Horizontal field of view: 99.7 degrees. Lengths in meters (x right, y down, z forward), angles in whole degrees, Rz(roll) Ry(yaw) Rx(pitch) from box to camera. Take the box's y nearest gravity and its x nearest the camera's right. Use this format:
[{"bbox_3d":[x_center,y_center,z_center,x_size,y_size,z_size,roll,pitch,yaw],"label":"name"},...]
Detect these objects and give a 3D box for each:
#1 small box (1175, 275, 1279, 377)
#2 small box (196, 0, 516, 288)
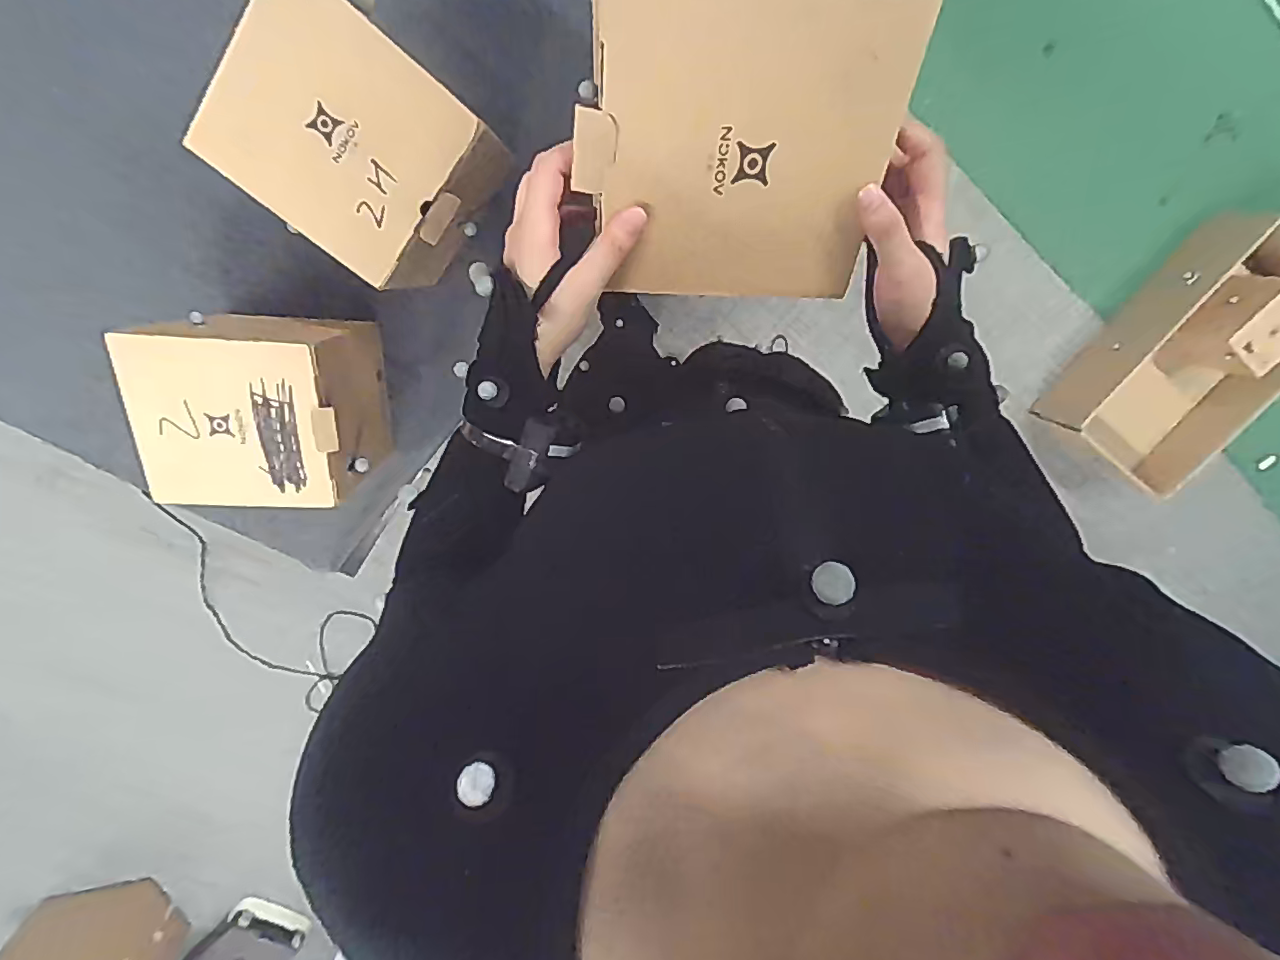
[{"bbox_3d":[1.517,-0.390,1.346,0.168,0.176,0.179,32,107,-17],"label":"small box"},{"bbox_3d":[-0.241,-0.301,0.507,0.179,0.176,0.168,37,105,-15],"label":"small box"}]
